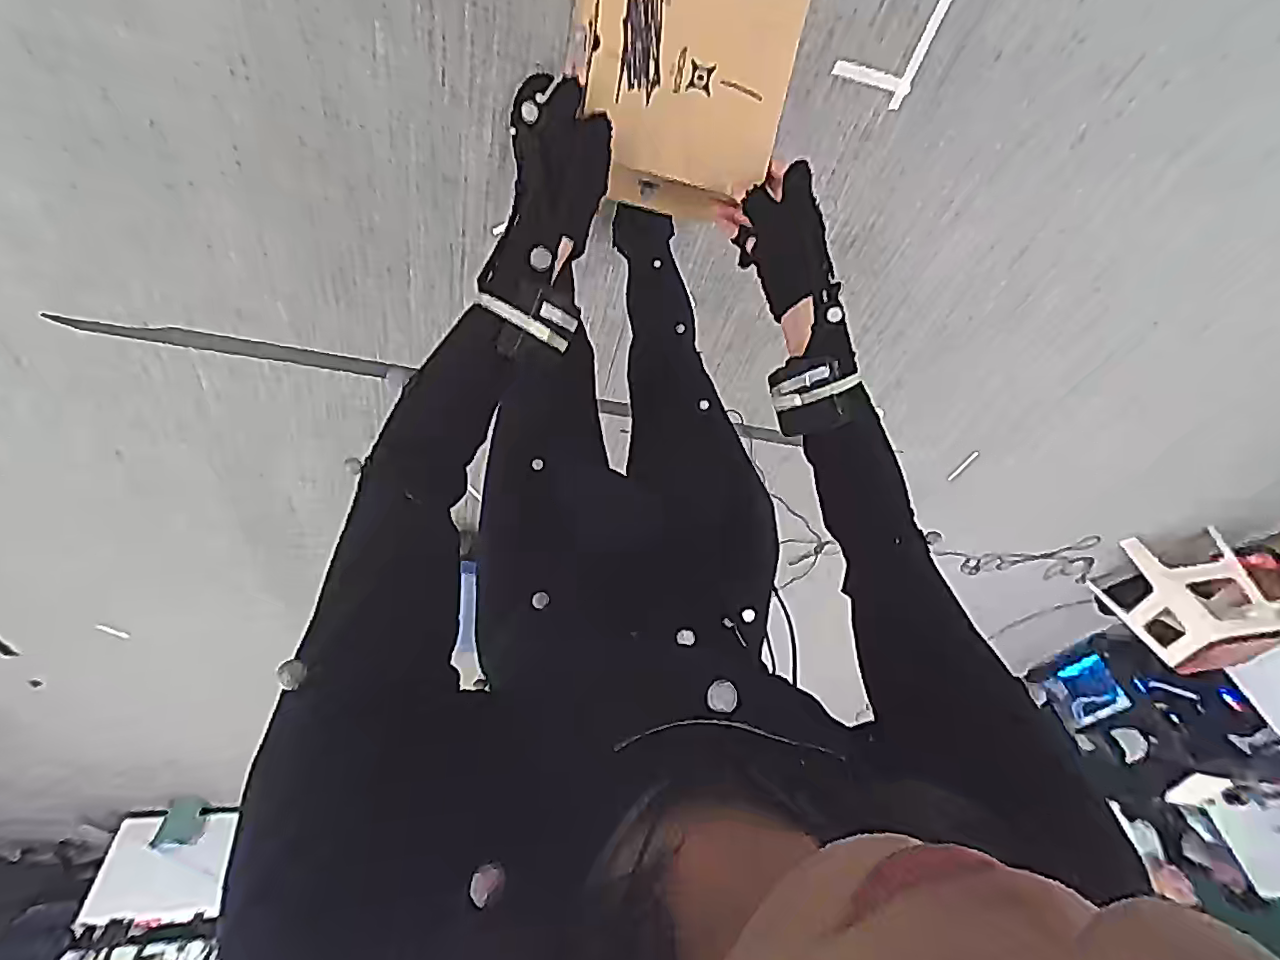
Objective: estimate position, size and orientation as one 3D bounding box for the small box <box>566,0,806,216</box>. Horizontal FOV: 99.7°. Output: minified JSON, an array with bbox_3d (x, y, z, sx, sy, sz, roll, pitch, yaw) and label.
[{"bbox_3d":[0.027,-0.376,0.534,0.179,0.176,0.168,10,107,-14],"label":"small box"}]
